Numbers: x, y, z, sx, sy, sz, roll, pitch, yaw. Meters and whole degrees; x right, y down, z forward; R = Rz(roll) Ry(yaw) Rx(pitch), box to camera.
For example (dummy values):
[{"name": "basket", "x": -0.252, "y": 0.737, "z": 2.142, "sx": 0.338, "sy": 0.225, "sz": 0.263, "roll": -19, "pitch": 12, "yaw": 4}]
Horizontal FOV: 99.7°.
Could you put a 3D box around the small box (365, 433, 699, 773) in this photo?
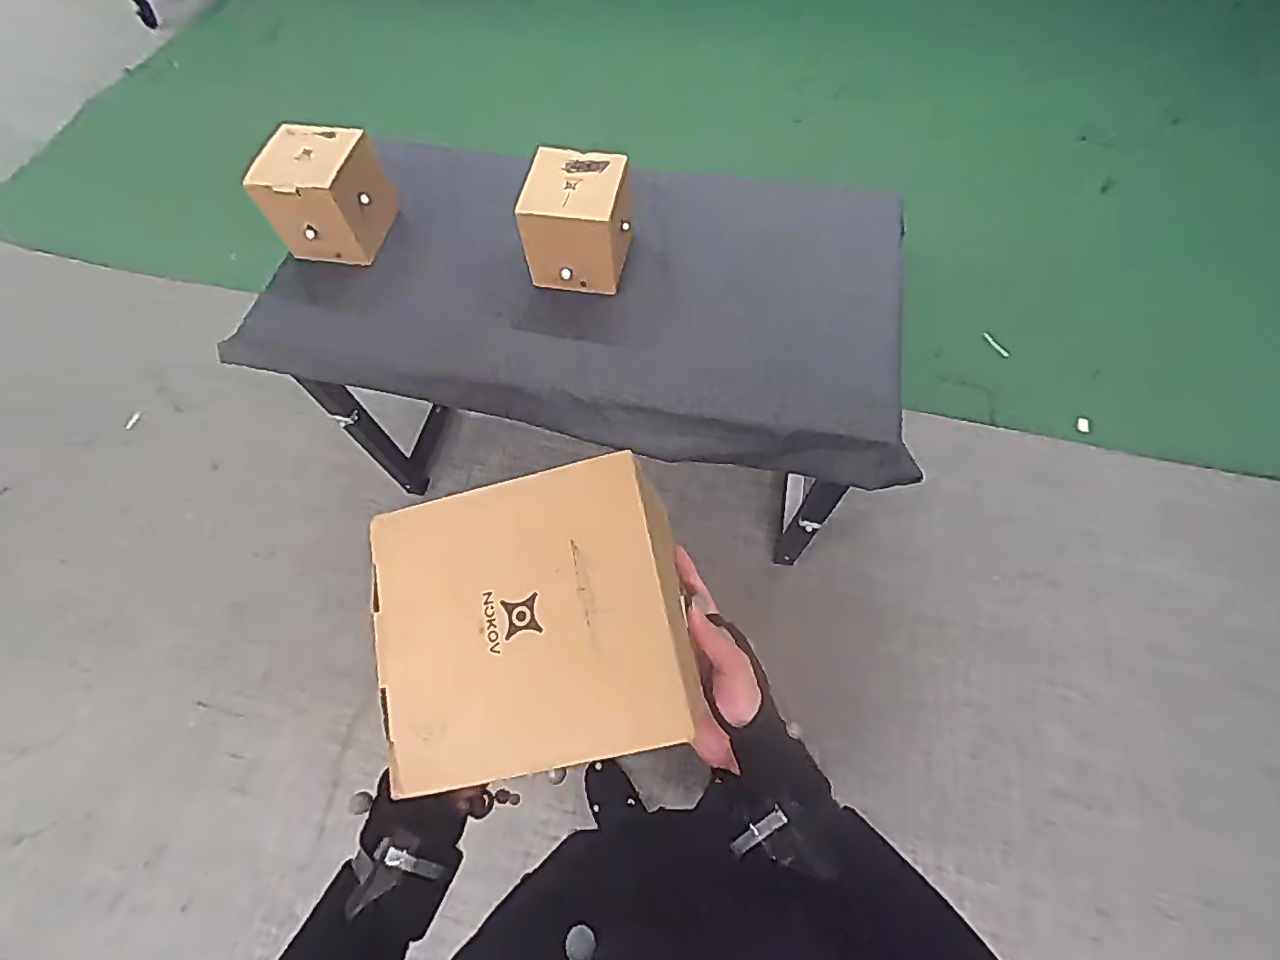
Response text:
[{"name": "small box", "x": -0.062, "y": 0.087, "z": 0.390, "sx": 0.179, "sy": 0.176, "sz": 0.168, "roll": -15, "pitch": 75, "yaw": 5}]

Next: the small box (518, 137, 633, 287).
[{"name": "small box", "x": -0.109, "y": -0.492, "z": 1.002, "sx": 0.168, "sy": 0.176, "sz": 0.179, "roll": 9, "pitch": 66, "yaw": 6}]

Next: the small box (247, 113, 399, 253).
[{"name": "small box", "x": -0.600, "y": -0.571, "z": 1.052, "sx": 0.168, "sy": 0.176, "sz": 0.179, "roll": 8, "pitch": 66, "yaw": 5}]
